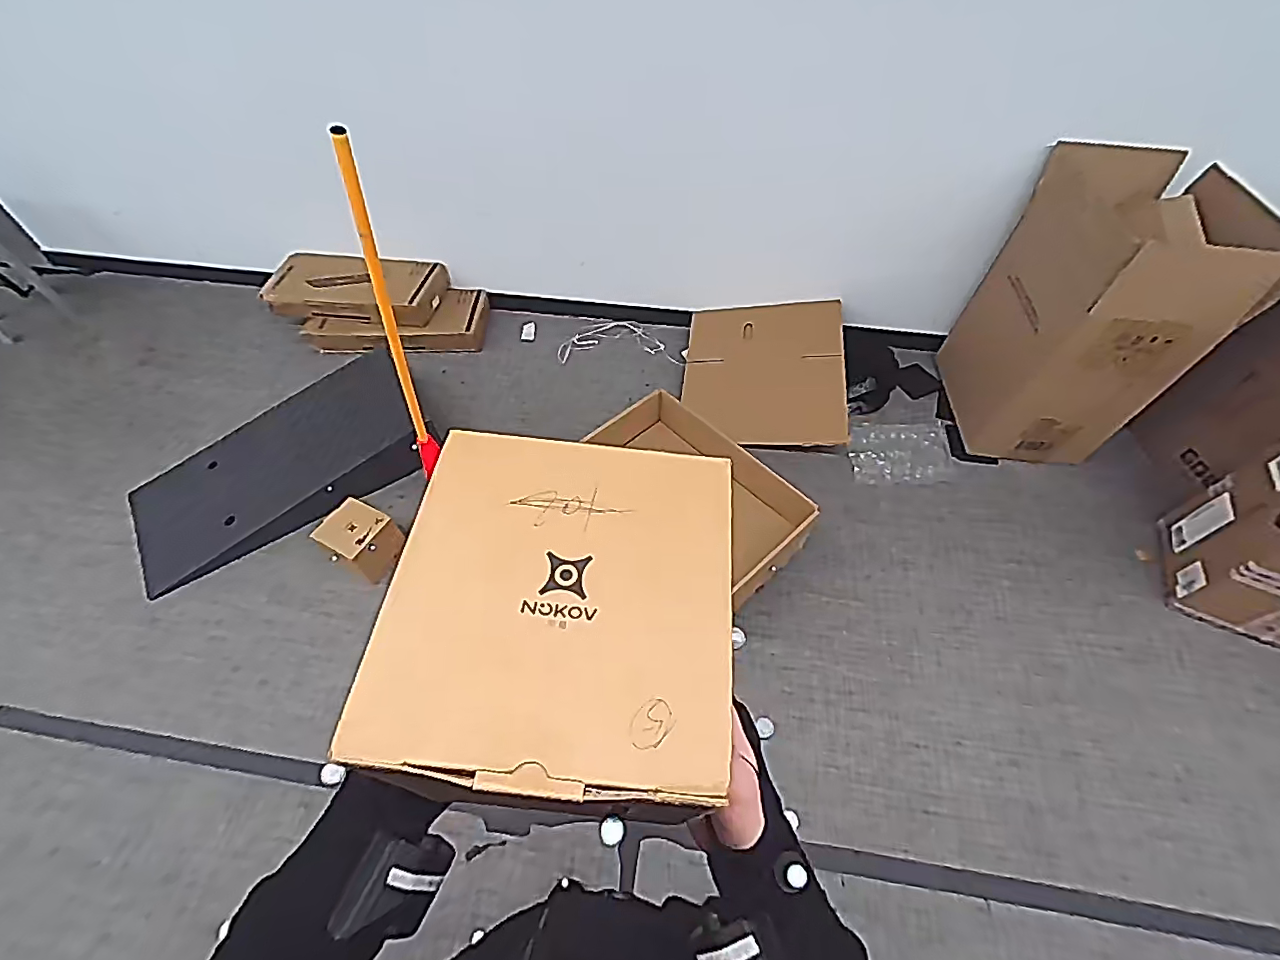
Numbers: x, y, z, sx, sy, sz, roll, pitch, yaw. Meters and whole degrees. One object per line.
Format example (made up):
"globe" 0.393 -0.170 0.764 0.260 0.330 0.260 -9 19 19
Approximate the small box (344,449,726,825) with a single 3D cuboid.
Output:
"small box" -0.043 0.106 0.341 0.168 0.176 0.179 7 54 0
